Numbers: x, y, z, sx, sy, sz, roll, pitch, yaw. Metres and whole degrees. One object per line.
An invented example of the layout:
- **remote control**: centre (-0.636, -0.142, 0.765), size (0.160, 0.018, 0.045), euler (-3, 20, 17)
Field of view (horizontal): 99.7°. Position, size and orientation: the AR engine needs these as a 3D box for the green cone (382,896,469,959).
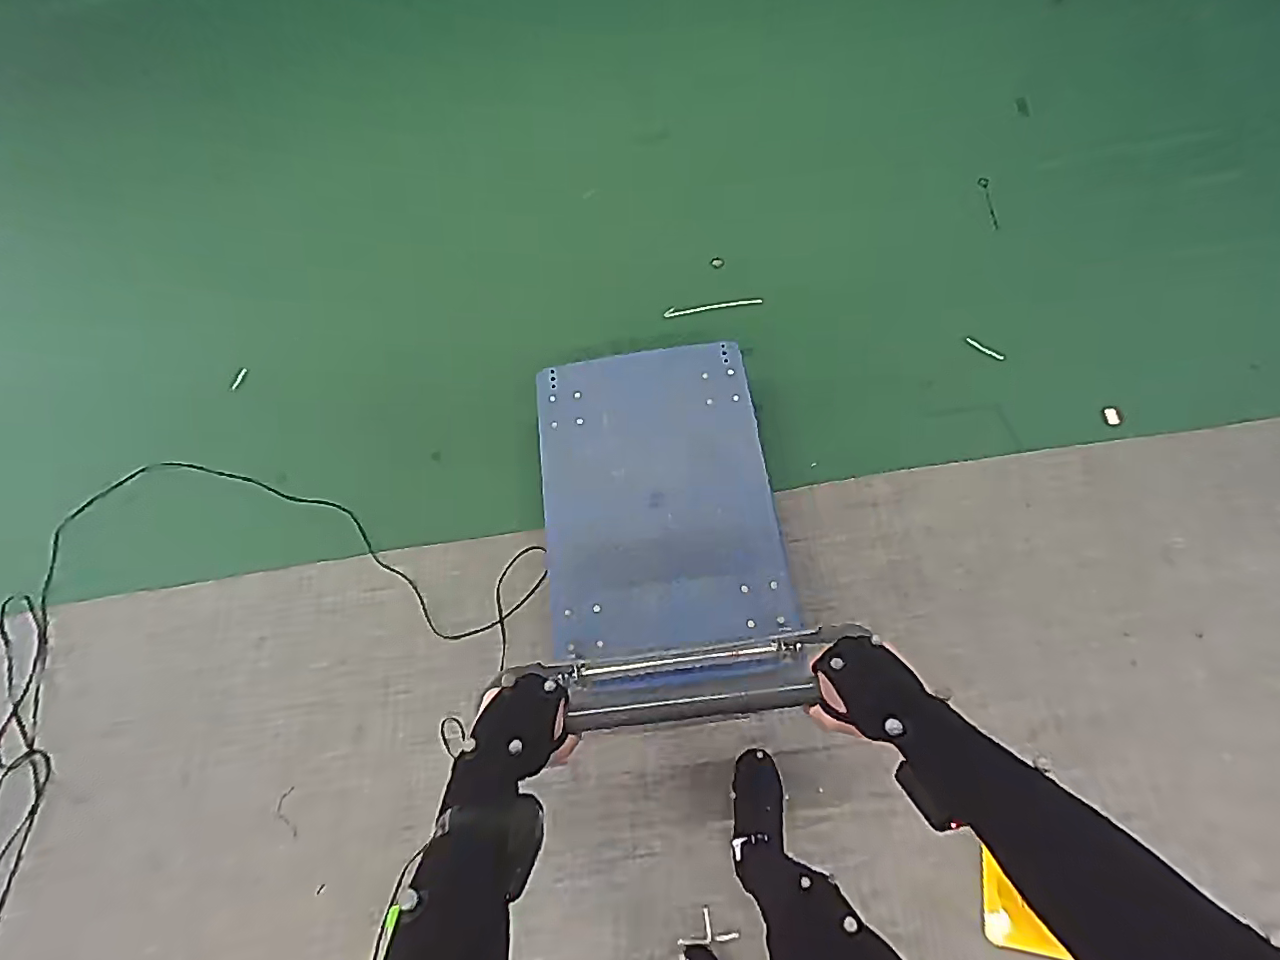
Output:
- **green cone**: centre (-0.501, 1.002, 1.050), size (0.202, 0.368, 0.200), euler (-13, 69, 2)
